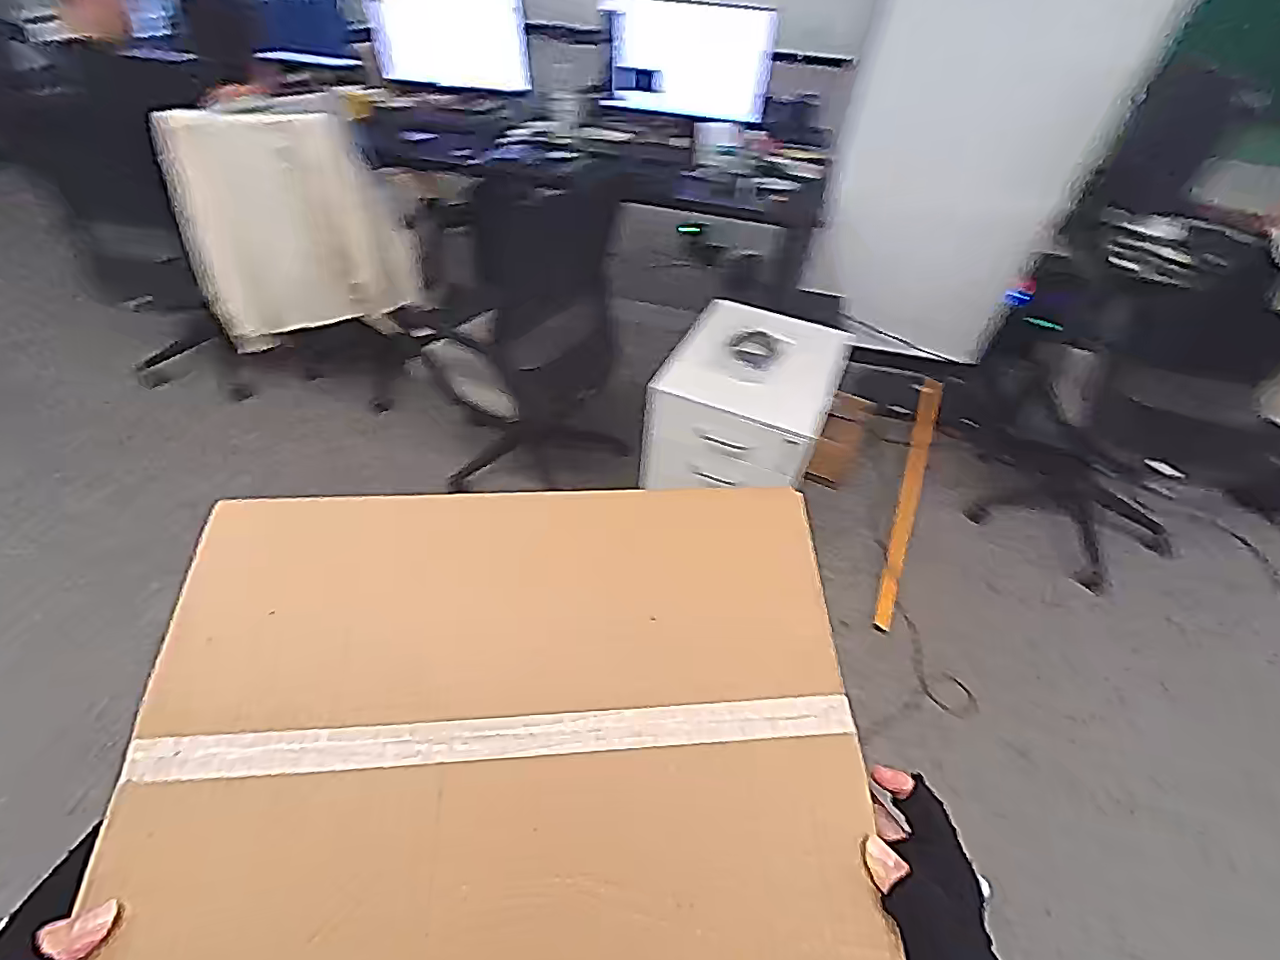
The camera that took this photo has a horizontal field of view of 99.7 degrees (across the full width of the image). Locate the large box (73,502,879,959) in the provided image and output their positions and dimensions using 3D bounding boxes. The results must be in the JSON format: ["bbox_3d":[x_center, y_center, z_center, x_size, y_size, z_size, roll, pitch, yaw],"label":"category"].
[{"bbox_3d":[-0.091,0.230,0.446,0.408,0.320,0.320,-2,61,-6],"label":"large box"}]
